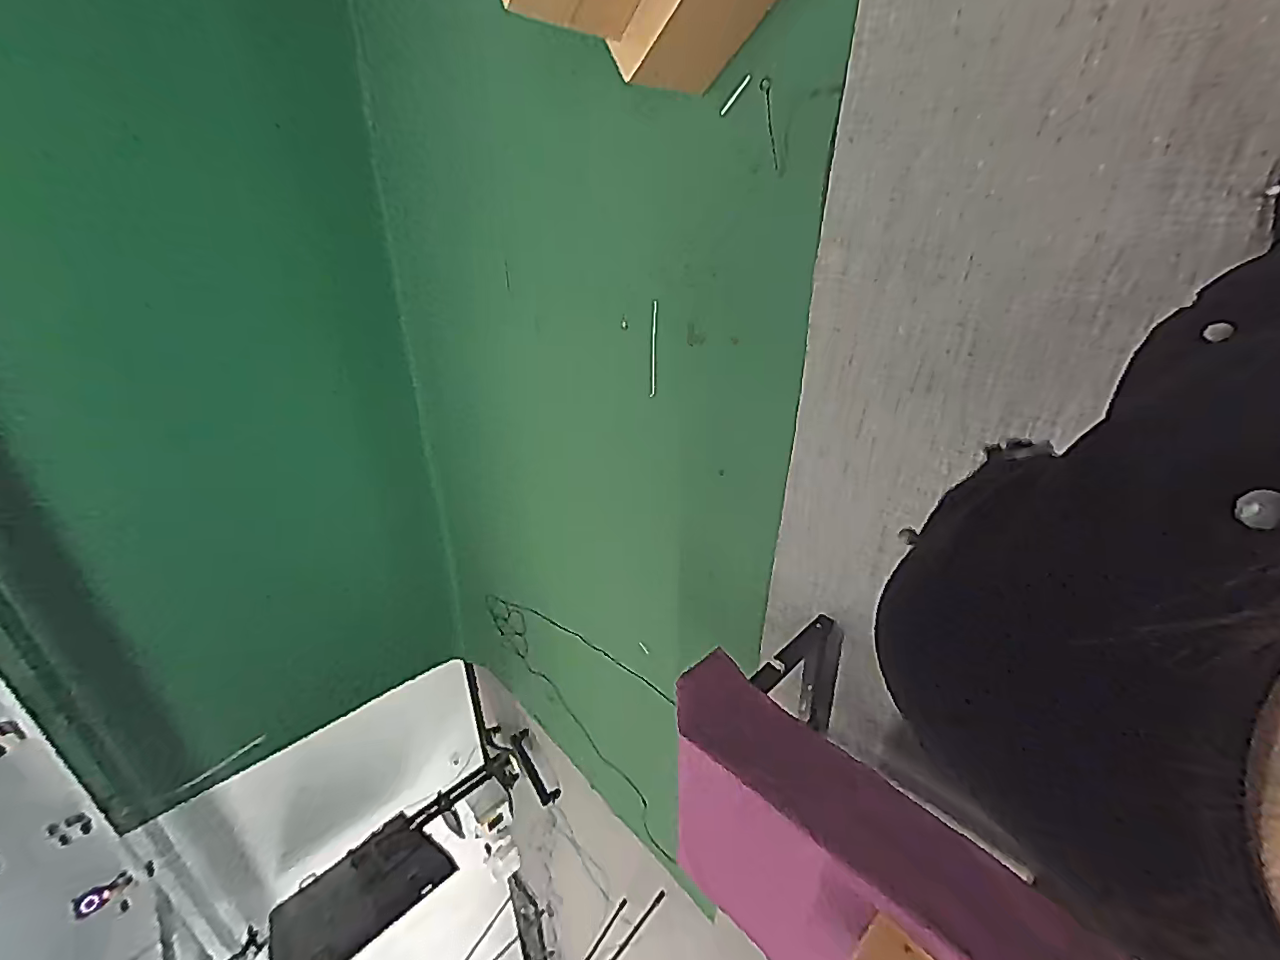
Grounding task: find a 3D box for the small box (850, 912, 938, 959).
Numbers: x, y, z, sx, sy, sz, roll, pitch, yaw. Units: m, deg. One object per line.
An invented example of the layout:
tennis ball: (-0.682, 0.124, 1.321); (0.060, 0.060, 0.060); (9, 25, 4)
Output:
small box: (0.495, 1.016, 1.063); (0.168, 0.176, 0.179); (31, 129, 37)
